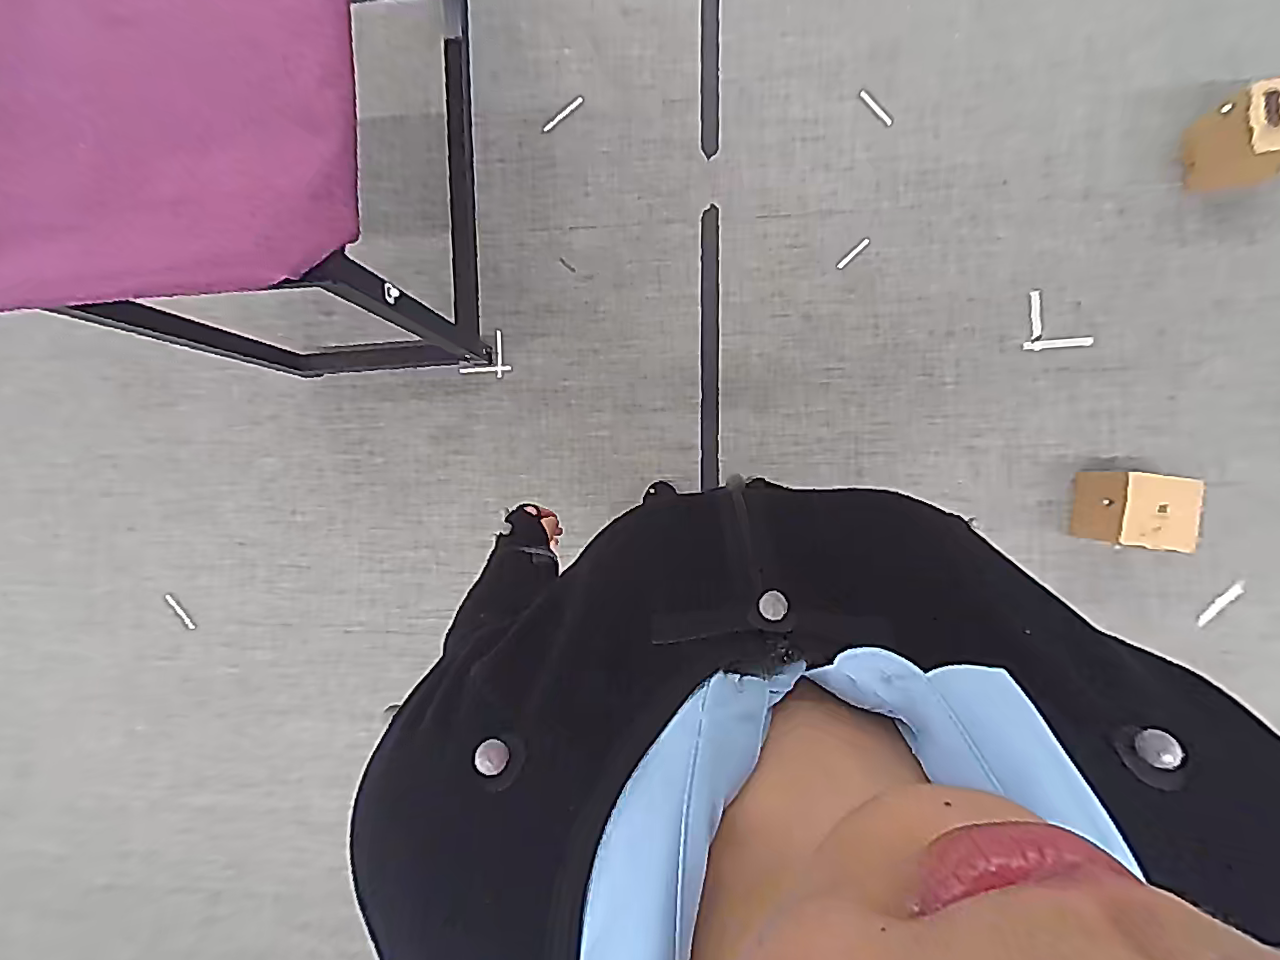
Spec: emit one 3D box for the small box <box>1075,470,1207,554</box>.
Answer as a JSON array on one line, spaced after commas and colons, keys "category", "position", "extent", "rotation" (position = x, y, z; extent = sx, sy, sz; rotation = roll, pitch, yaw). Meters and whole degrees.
[{"category": "small box", "position": [1.224, 0.074, 1.335], "extent": [0.168, 0.176, 0.179], "rotation": [8, 91, 6]}]
